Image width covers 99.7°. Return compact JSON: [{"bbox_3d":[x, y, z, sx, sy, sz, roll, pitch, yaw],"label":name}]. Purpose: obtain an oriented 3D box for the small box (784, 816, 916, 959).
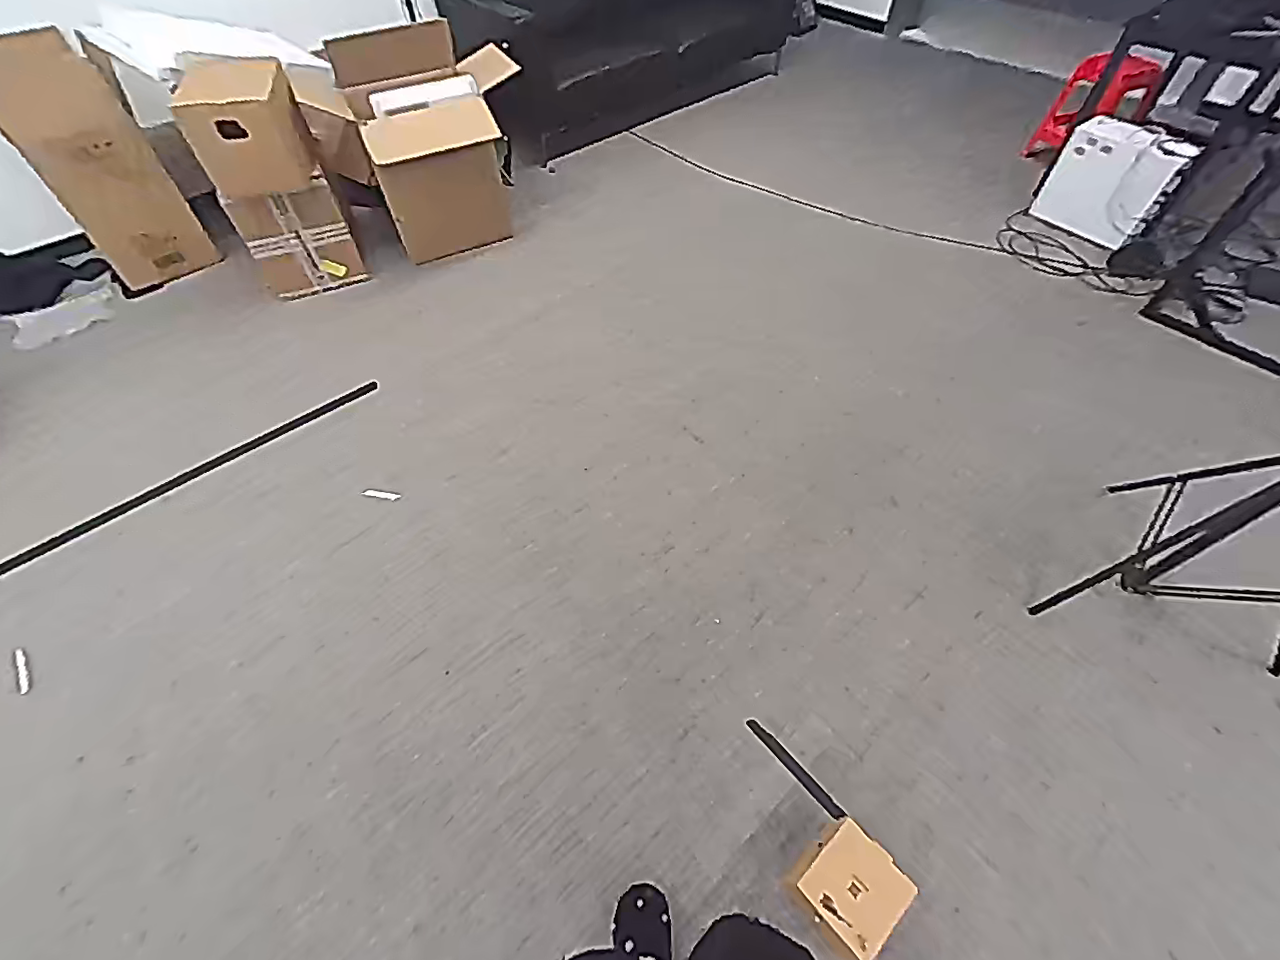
[{"bbox_3d":[0.422,0.836,1.116,0.179,0.176,0.168,-36,61,-24],"label":"small box"}]
